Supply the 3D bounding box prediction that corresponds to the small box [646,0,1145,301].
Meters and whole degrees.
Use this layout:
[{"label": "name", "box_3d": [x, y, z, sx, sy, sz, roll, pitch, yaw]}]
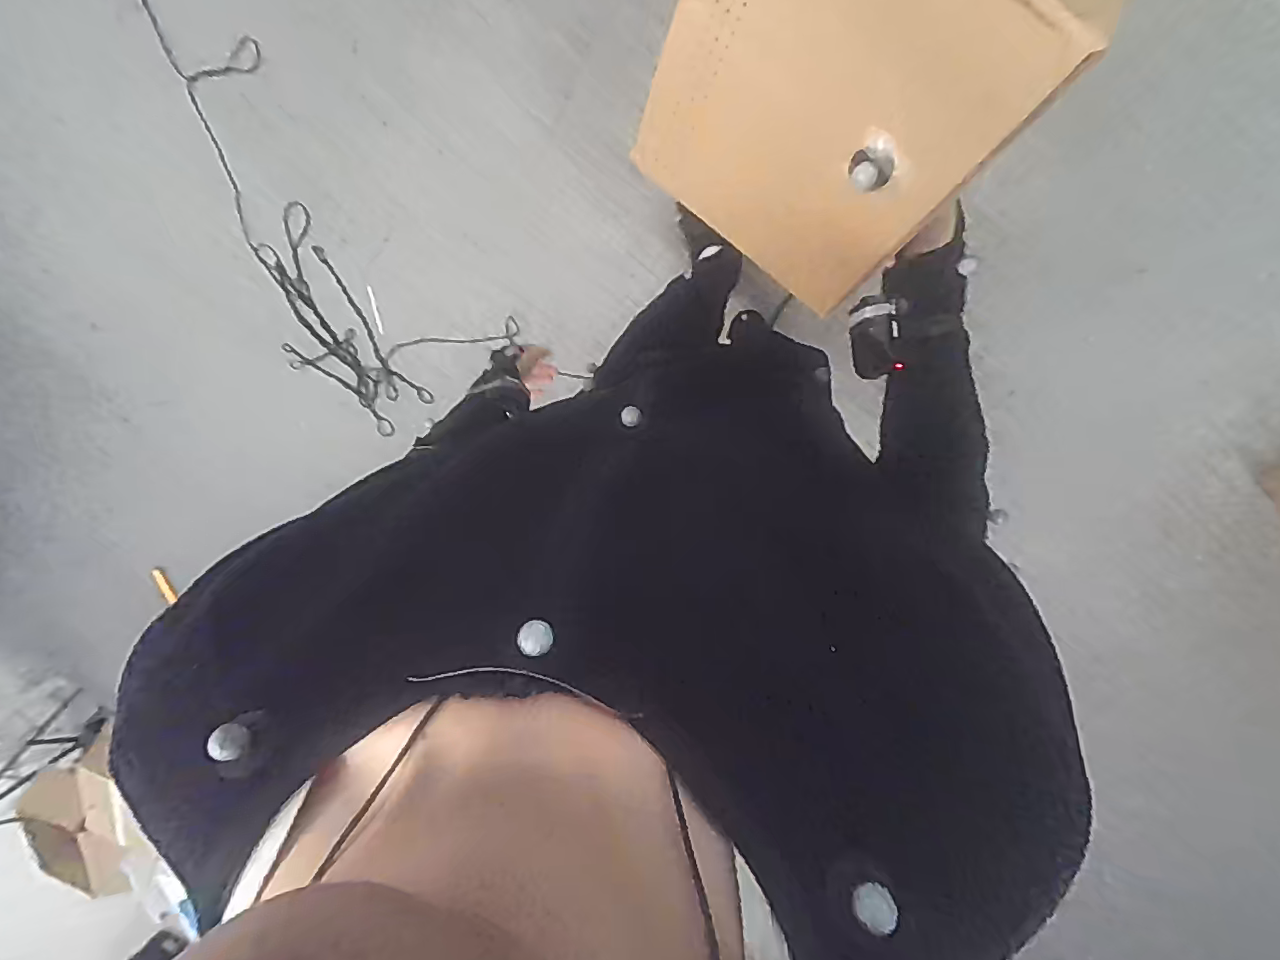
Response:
[{"label": "small box", "box_3d": [0.127, -0.245, 0.292, 0.176, 0.168, 0.179, 39, 155, -2]}]
